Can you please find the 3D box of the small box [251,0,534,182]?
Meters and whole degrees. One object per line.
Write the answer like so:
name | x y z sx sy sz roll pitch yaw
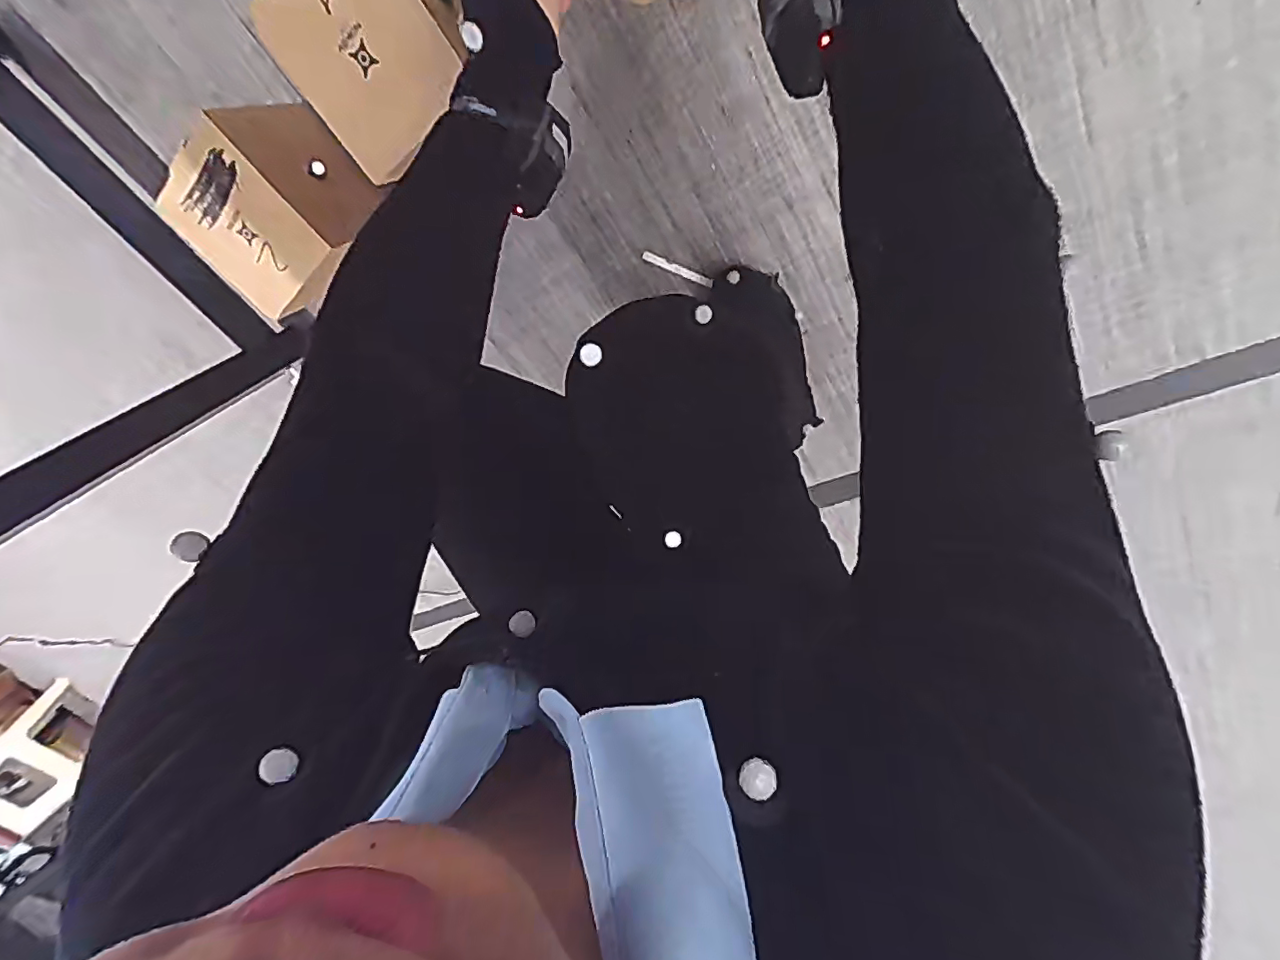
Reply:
small box | -0.243 -0.458 0.575 0.168 0.176 0.179 -22 117 27
